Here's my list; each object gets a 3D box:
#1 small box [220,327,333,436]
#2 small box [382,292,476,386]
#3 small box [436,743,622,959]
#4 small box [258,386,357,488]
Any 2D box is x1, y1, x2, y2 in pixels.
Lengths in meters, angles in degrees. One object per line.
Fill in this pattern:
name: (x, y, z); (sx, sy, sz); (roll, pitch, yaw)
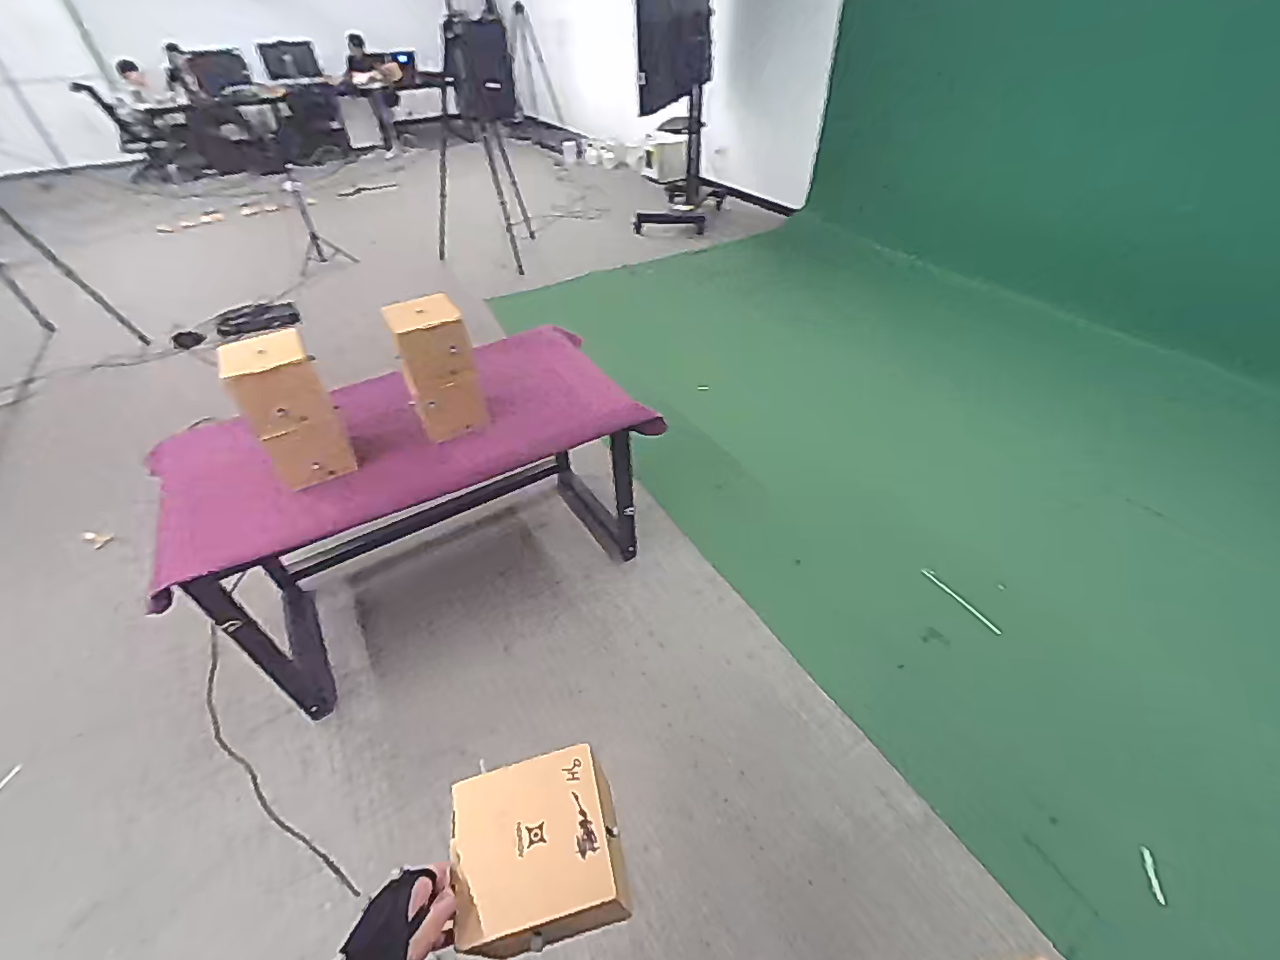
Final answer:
small box: (-0.851, -0.232, 1.272); (0.168, 0.176, 0.179); (-23, 47, -23)
small box: (-0.542, -0.360, 1.403); (0.168, 0.176, 0.179); (-23, 46, -22)
small box: (-0.131, 0.458, 0.663); (0.179, 0.176, 0.168); (-15, 46, -6)
small box: (-0.847, -0.110, 1.379); (0.168, 0.176, 0.179); (-23, 47, -21)
